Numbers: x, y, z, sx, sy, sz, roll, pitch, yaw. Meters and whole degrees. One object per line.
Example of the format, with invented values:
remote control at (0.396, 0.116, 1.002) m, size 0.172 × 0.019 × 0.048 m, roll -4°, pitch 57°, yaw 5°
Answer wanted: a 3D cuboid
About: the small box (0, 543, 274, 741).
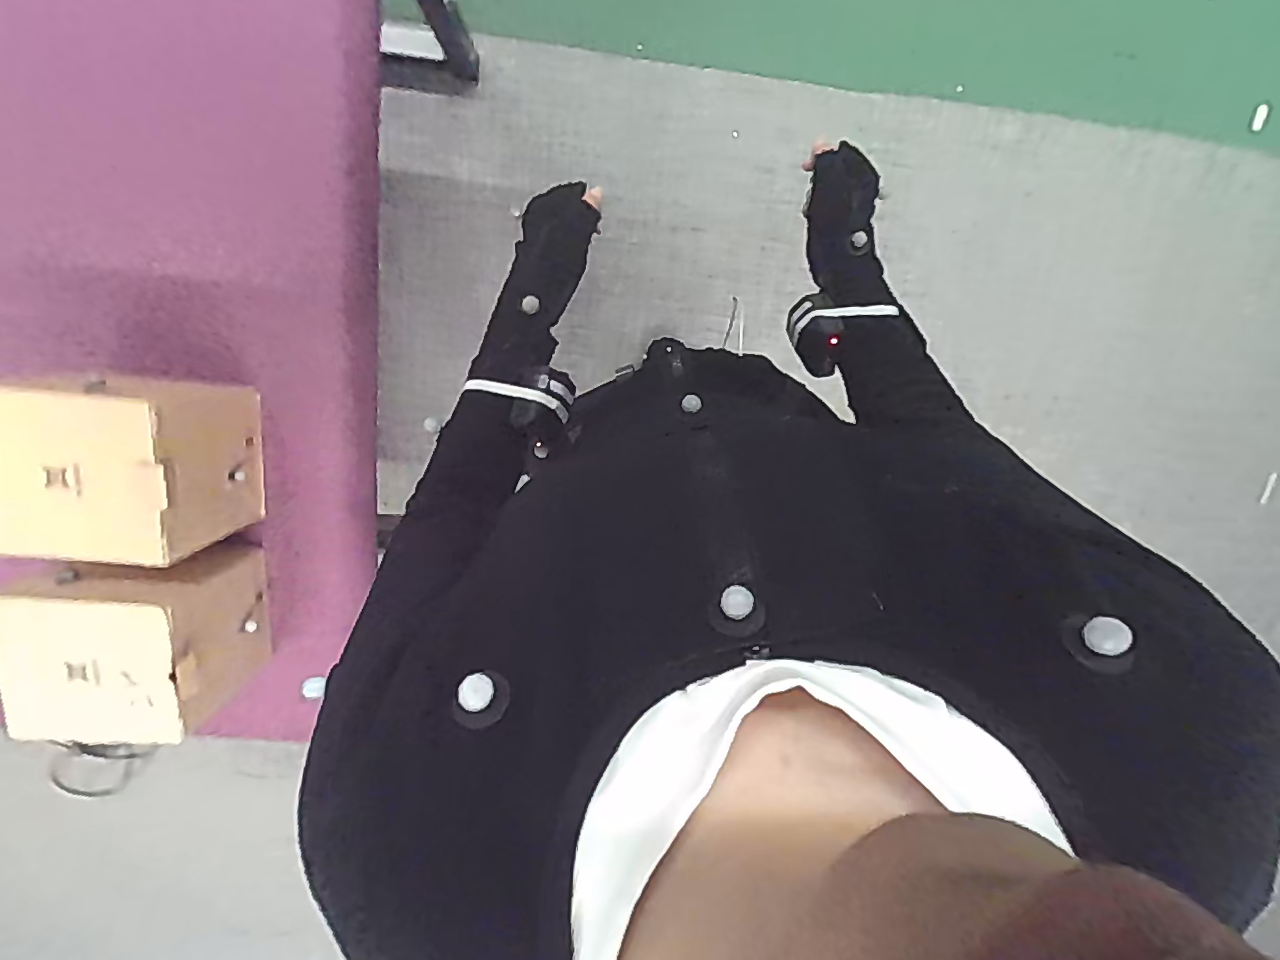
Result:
small box at (-0.577, 0.180, 0.643) m, size 0.179 × 0.176 × 0.168 m, roll 4°, pitch 103°, yaw -5°
